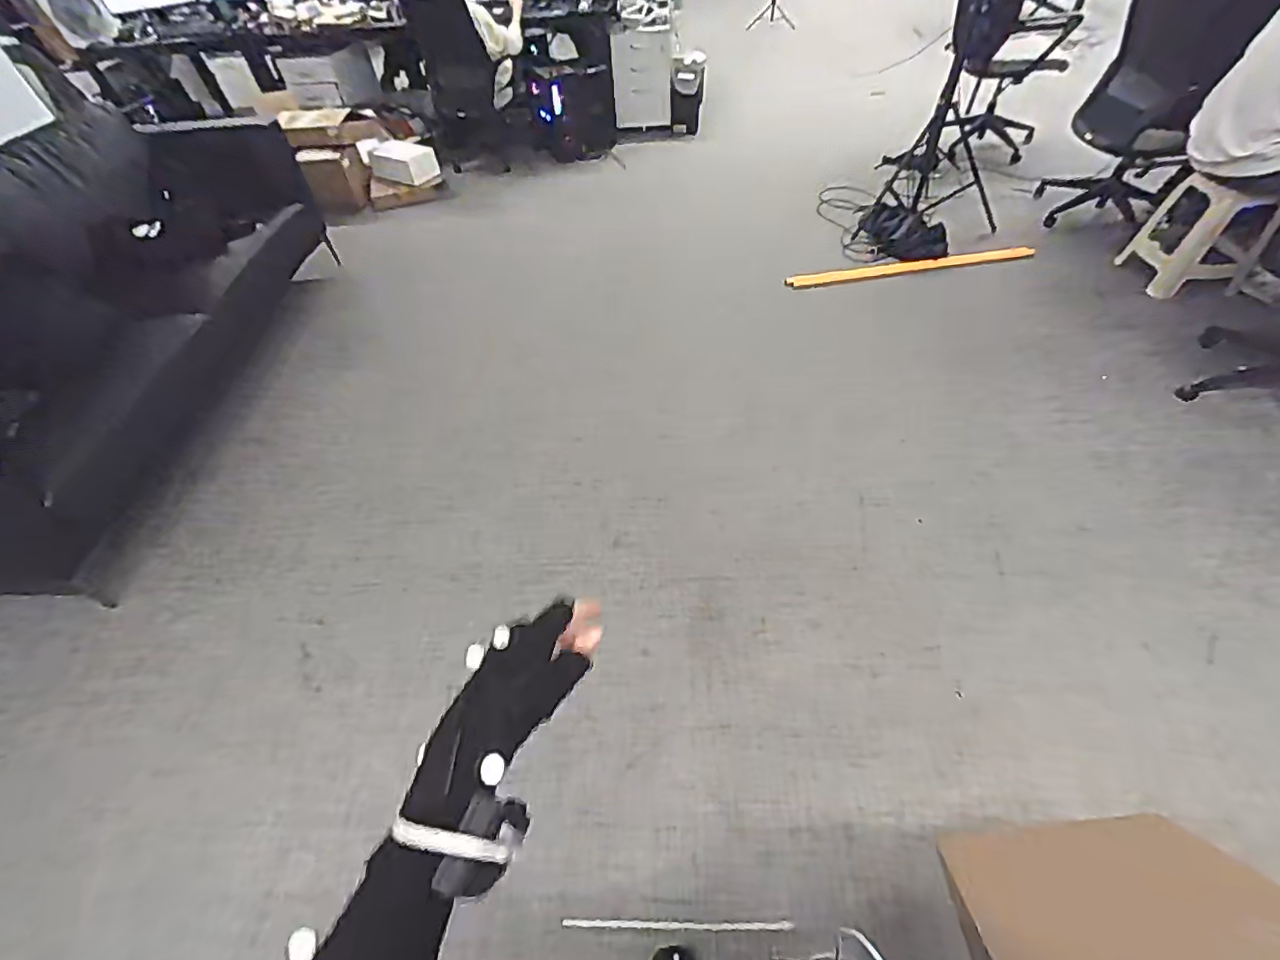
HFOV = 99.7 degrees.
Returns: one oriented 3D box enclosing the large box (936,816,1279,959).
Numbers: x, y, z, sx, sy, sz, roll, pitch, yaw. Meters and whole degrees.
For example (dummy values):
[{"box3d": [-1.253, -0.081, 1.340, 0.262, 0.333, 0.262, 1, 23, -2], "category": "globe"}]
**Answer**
[{"box3d": [0.569, 0.624, 0.595, 0.320, 0.408, 0.320, -18, 71, 16], "category": "large box"}]
